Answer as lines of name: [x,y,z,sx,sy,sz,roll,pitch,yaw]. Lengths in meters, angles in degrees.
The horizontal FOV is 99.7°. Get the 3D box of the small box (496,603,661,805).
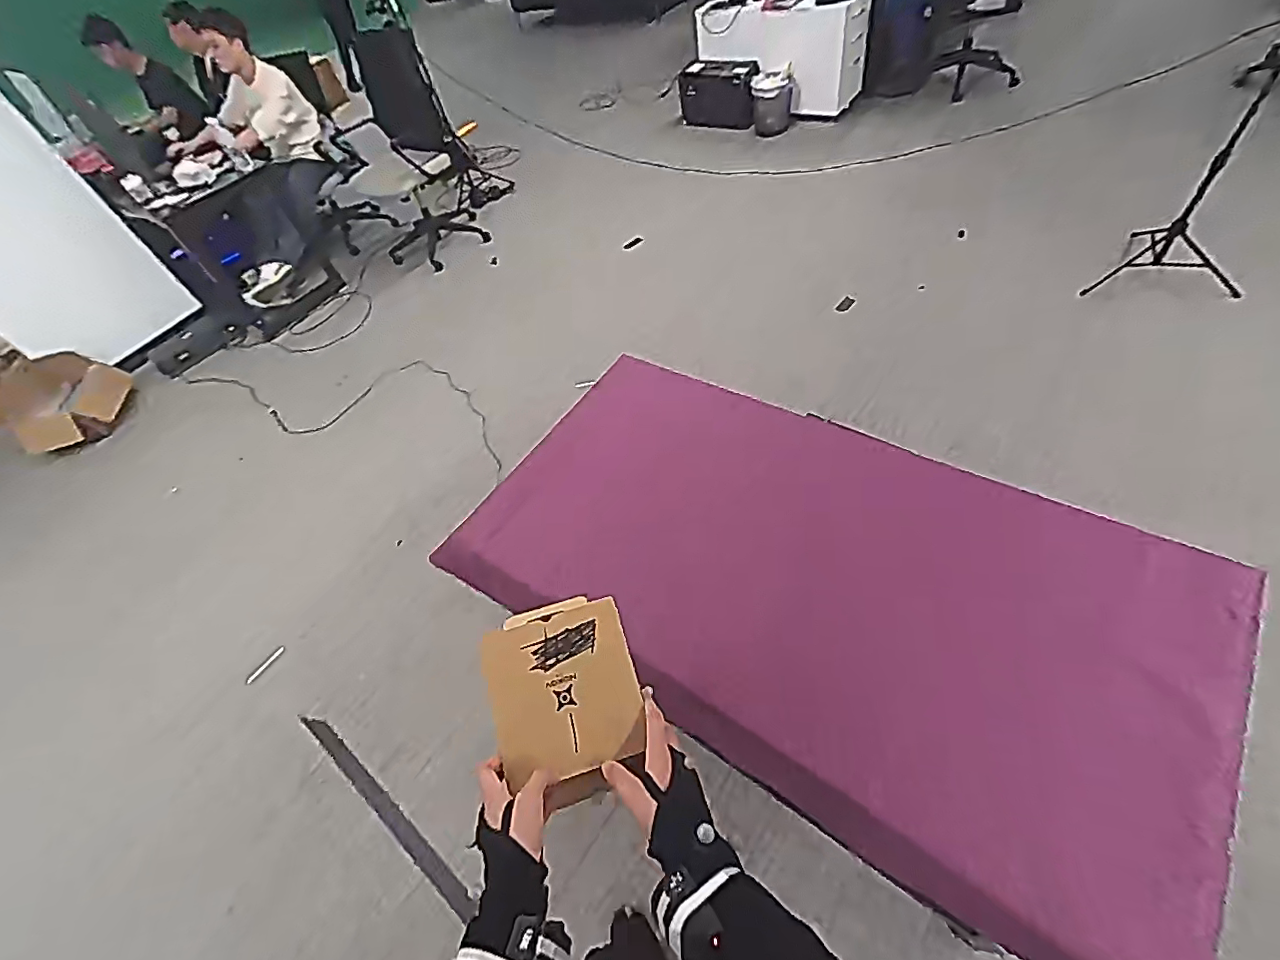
small box: [-0.075,0.289,0.694,0.168,0.176,0.179,-15,54,-6]
